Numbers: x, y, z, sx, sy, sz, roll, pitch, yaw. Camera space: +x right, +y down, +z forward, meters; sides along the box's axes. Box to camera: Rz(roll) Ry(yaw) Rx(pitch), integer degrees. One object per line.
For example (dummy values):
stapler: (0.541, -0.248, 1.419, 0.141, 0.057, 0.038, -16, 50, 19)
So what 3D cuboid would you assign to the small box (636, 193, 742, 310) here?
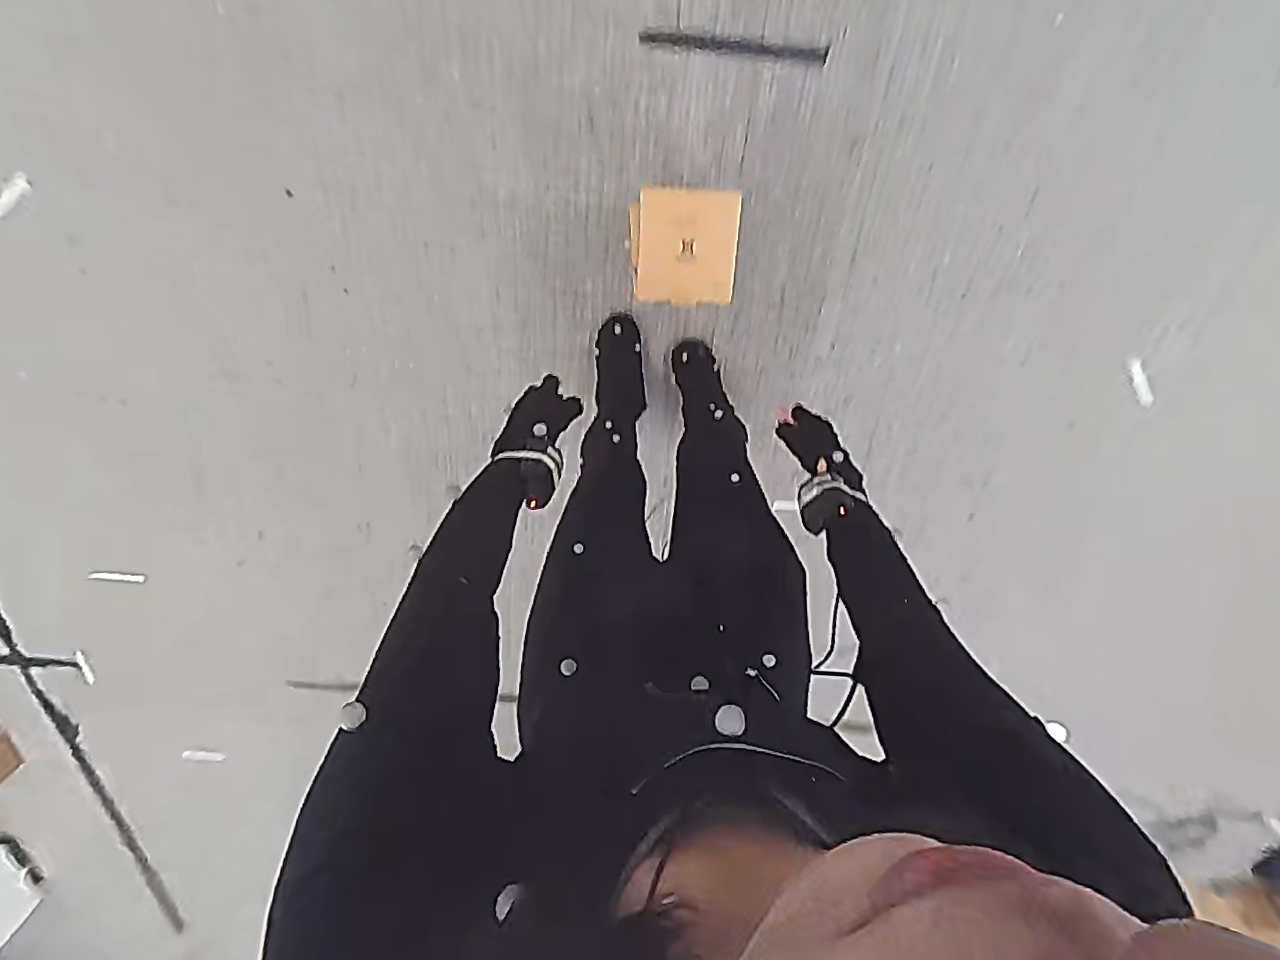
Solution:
small box: (0.078, -0.412, 0.969, 0.168, 0.176, 0.179, 1, 116, -2)
